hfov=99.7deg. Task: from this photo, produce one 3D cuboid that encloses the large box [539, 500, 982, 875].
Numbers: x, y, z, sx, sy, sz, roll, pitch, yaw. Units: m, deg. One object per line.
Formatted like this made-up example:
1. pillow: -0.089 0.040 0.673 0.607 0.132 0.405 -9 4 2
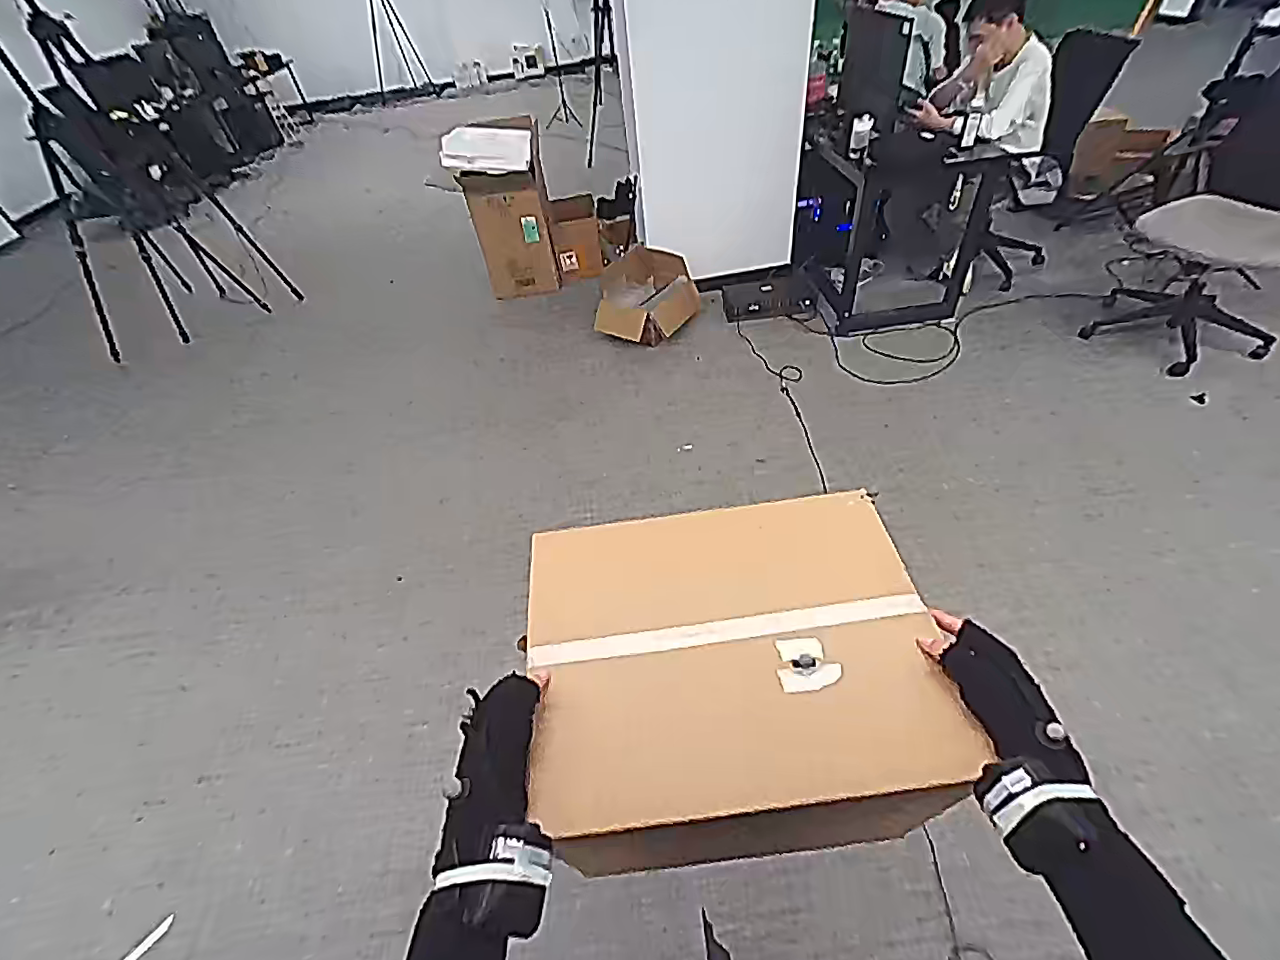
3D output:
1. large box: 0.101 0.263 0.679 0.408 0.320 0.320 -8 49 -1
